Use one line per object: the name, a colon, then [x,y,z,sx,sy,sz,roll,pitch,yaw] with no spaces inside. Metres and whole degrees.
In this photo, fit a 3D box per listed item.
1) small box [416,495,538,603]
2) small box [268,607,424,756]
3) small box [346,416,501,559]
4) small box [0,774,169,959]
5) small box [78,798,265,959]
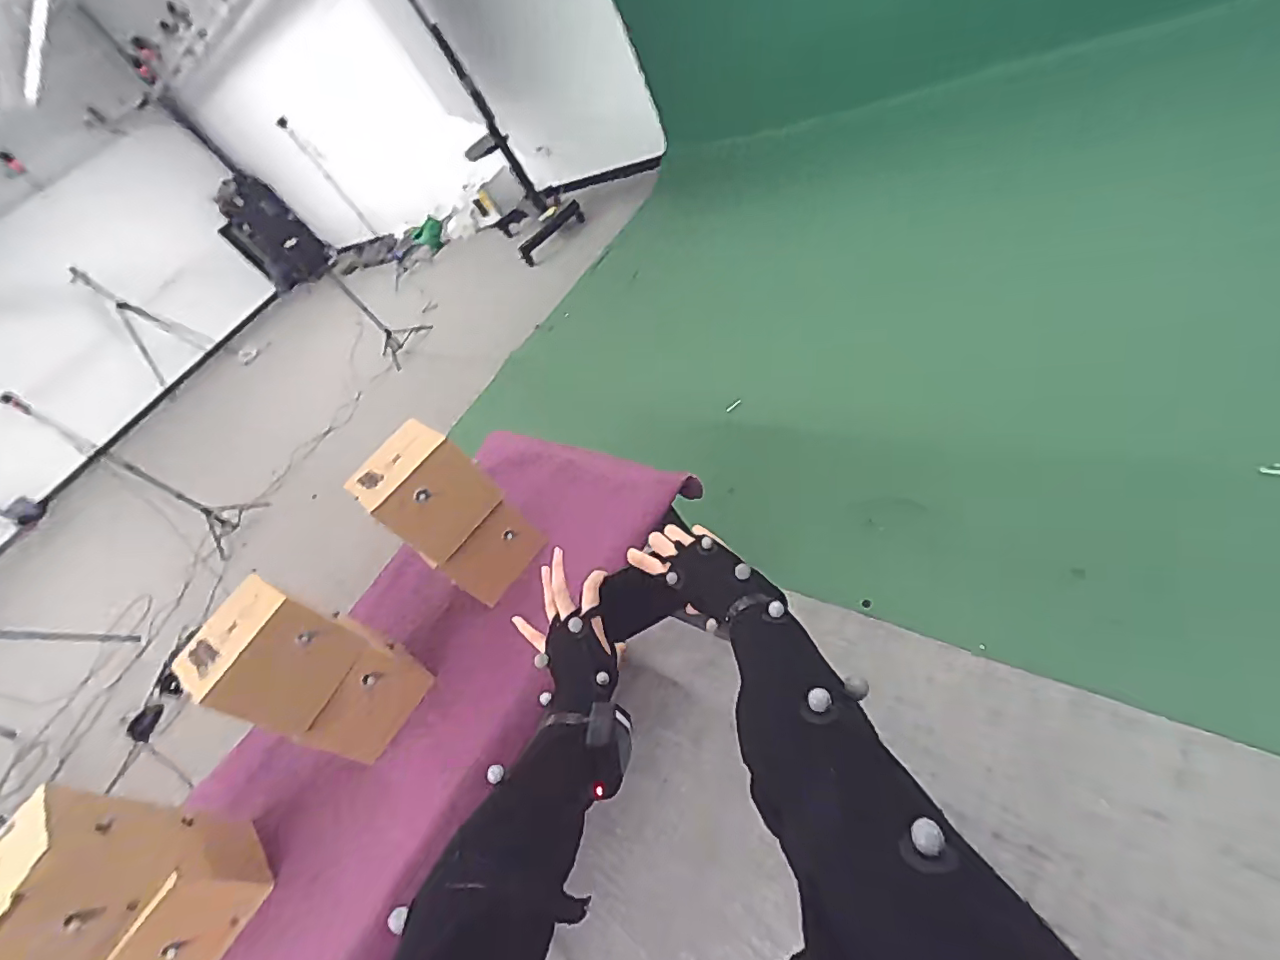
small box: [-0.335,0.117,1.110,0.168,0.176,0.179,25,70,45]
small box: [-0.534,0.374,1.007,0.168,0.176,0.179,17,64,42]
small box: [-0.392,0.015,0.994,0.168,0.176,0.179,25,68,45]
small box: [-0.842,0.568,0.789,0.179,0.176,0.168,12,60,39]
small box: [-0.764,0.669,0.892,0.179,0.176,0.168,18,64,42]
